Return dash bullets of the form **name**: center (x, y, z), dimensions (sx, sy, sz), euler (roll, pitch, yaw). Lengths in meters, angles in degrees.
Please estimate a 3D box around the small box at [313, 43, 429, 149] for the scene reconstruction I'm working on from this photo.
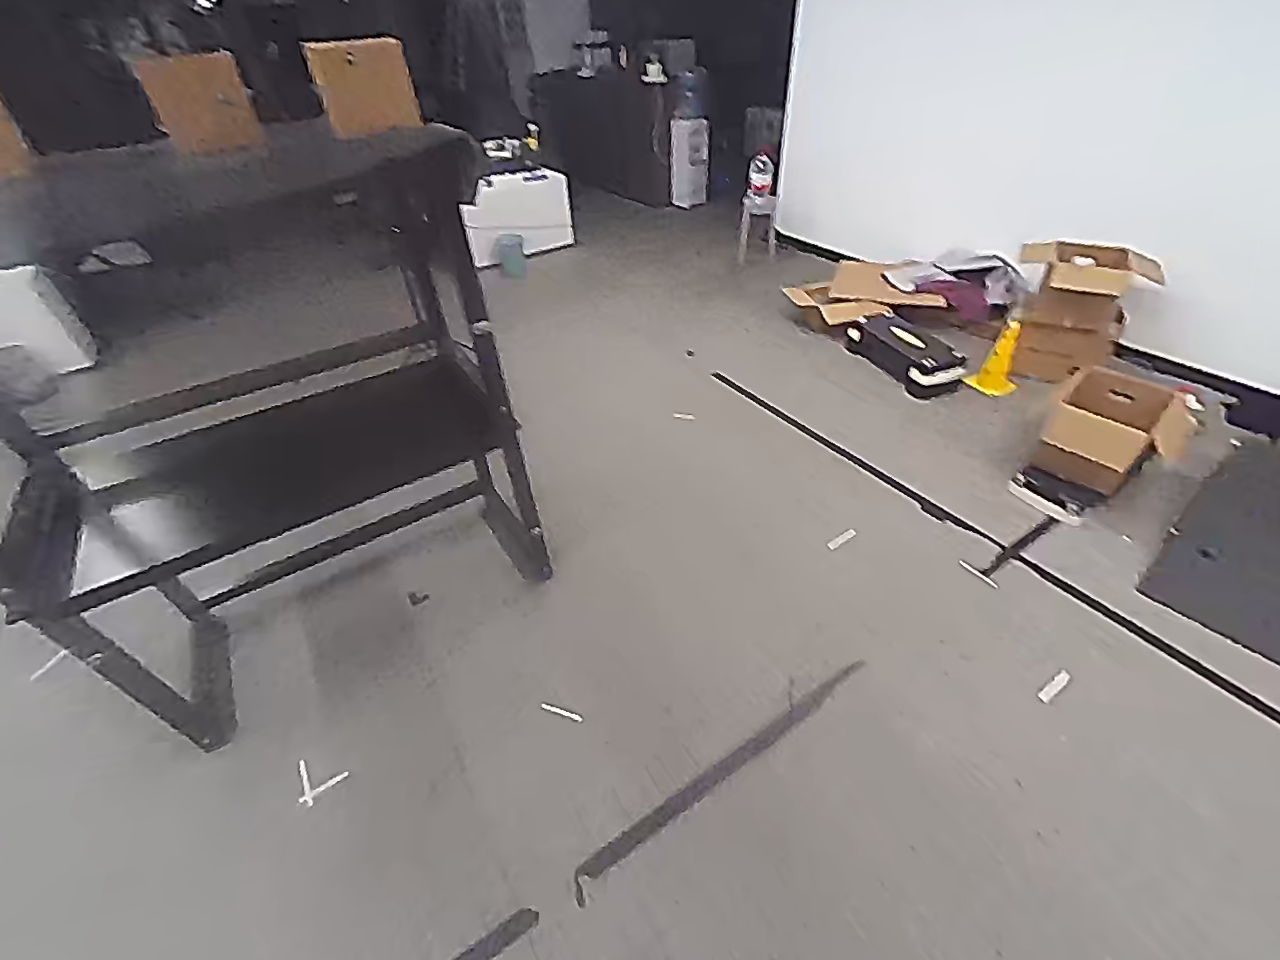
- **small box**: center (-0.574, -0.821, 1.158), dimensions (0.168, 0.176, 0.179), euler (-23, 43, -20)

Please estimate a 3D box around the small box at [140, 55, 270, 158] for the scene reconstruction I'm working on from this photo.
- **small box**: center (-0.950, -0.832, 1.201), dimensions (0.179, 0.176, 0.168), euler (-23, 44, -22)
